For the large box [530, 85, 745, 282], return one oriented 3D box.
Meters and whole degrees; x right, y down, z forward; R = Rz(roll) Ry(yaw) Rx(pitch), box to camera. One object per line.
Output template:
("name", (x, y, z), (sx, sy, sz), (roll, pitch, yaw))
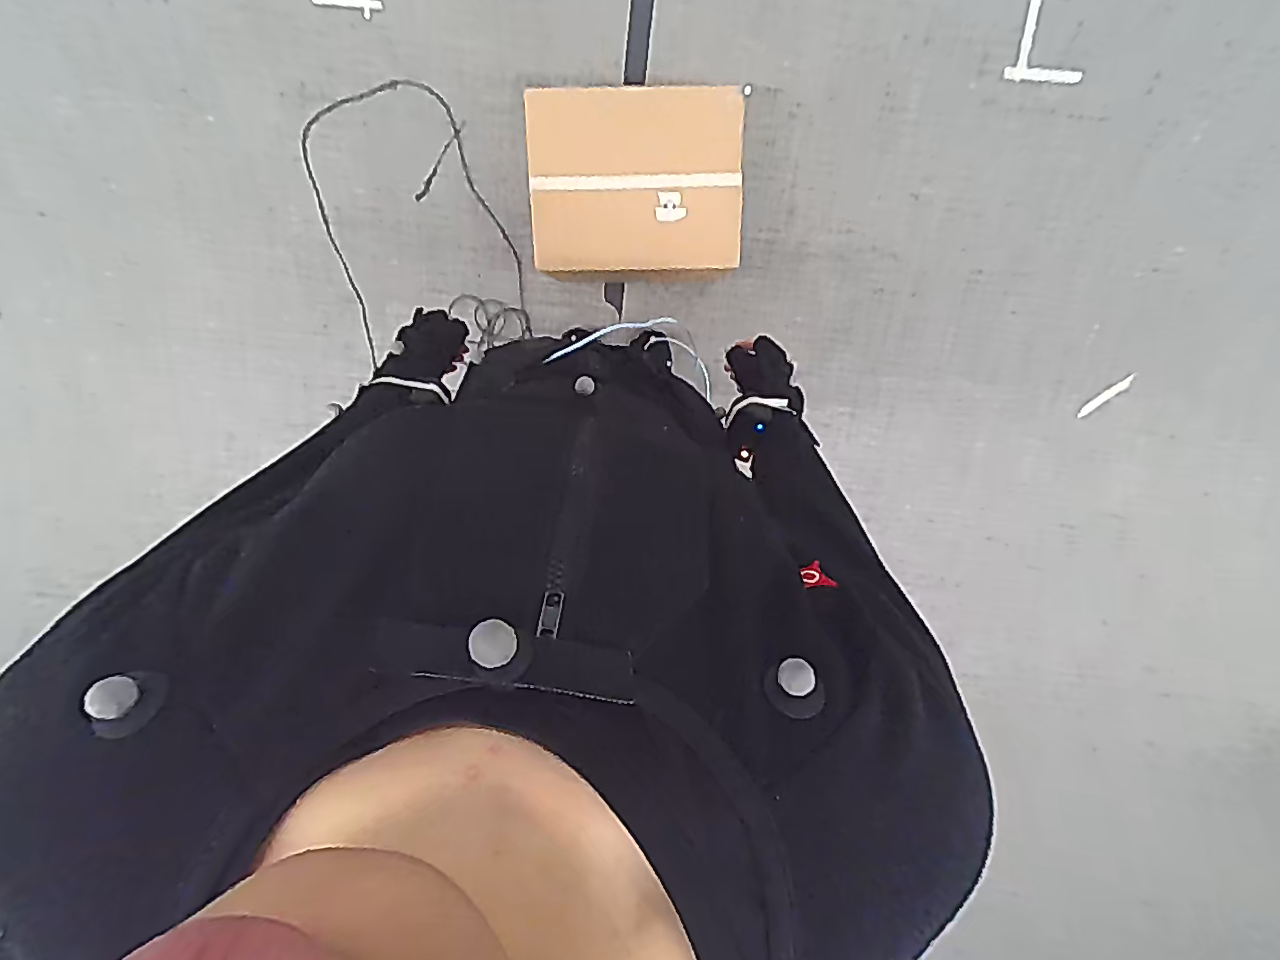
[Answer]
("large box", (-0.005, -0.611, 1.173), (0.408, 0.320, 0.320), (-1, 106, 0))
